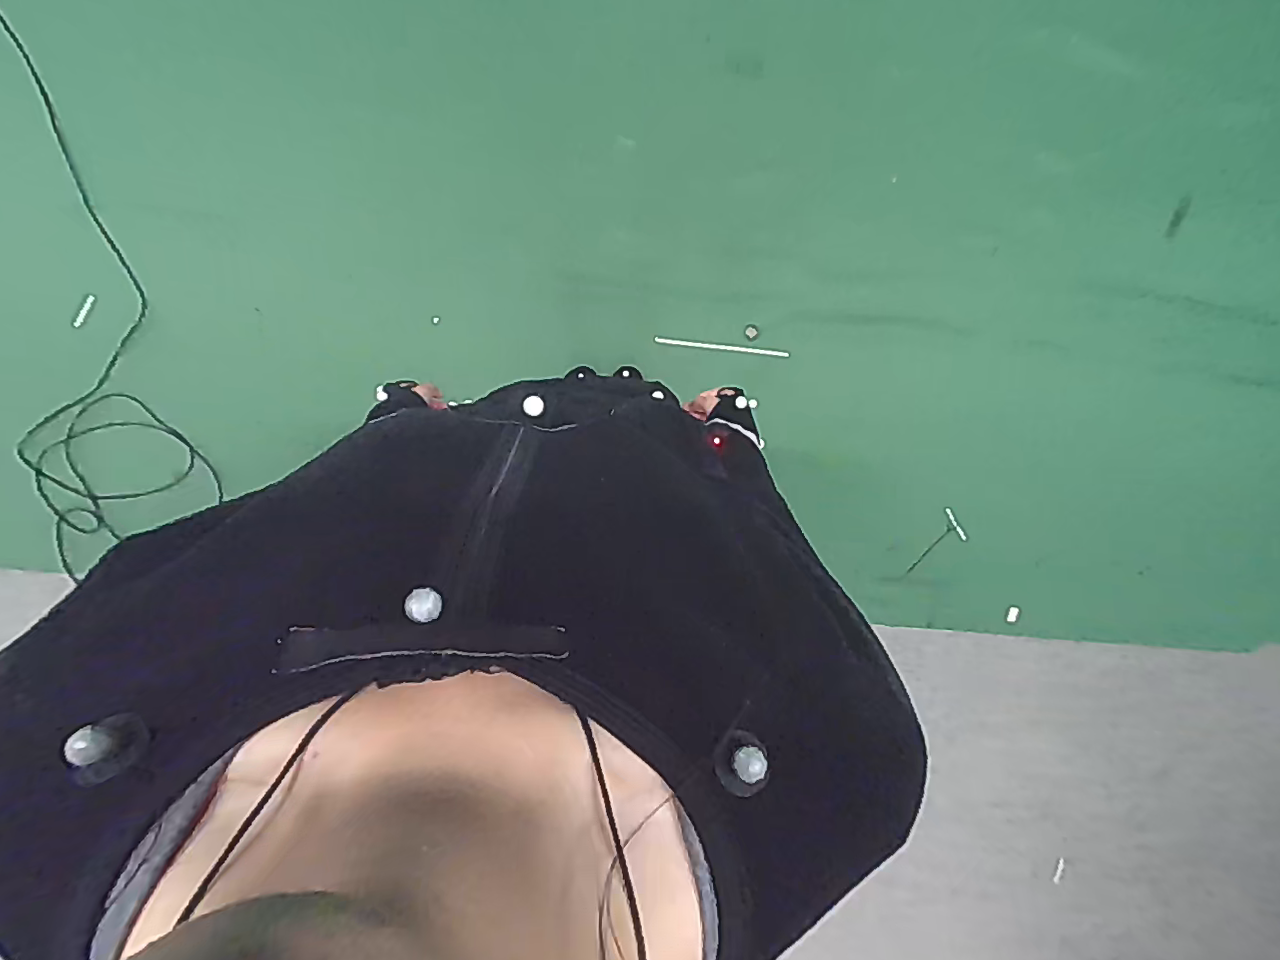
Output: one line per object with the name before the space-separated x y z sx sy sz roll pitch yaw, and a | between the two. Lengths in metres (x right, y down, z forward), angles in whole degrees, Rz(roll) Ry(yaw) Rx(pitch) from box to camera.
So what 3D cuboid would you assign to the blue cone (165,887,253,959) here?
blue cone | -1.301 1.395 1.508 0.193 0.380 0.192 -38 104 5
